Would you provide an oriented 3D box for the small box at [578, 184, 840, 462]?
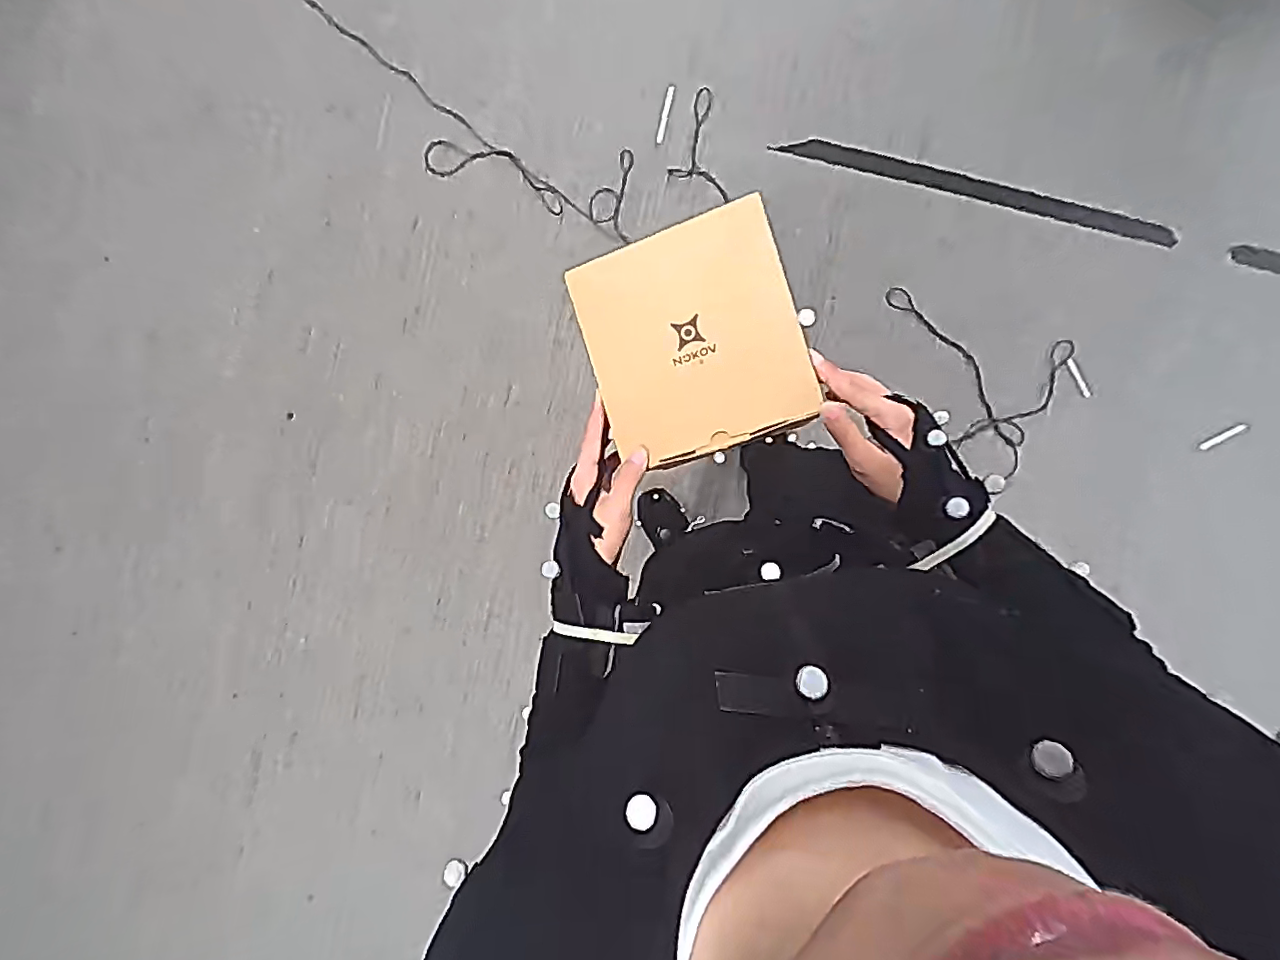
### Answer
[{"bbox_3d":[0.064,-0.120,0.492,0.168,0.176,0.179,-17,90,12],"label":"small box"}]
